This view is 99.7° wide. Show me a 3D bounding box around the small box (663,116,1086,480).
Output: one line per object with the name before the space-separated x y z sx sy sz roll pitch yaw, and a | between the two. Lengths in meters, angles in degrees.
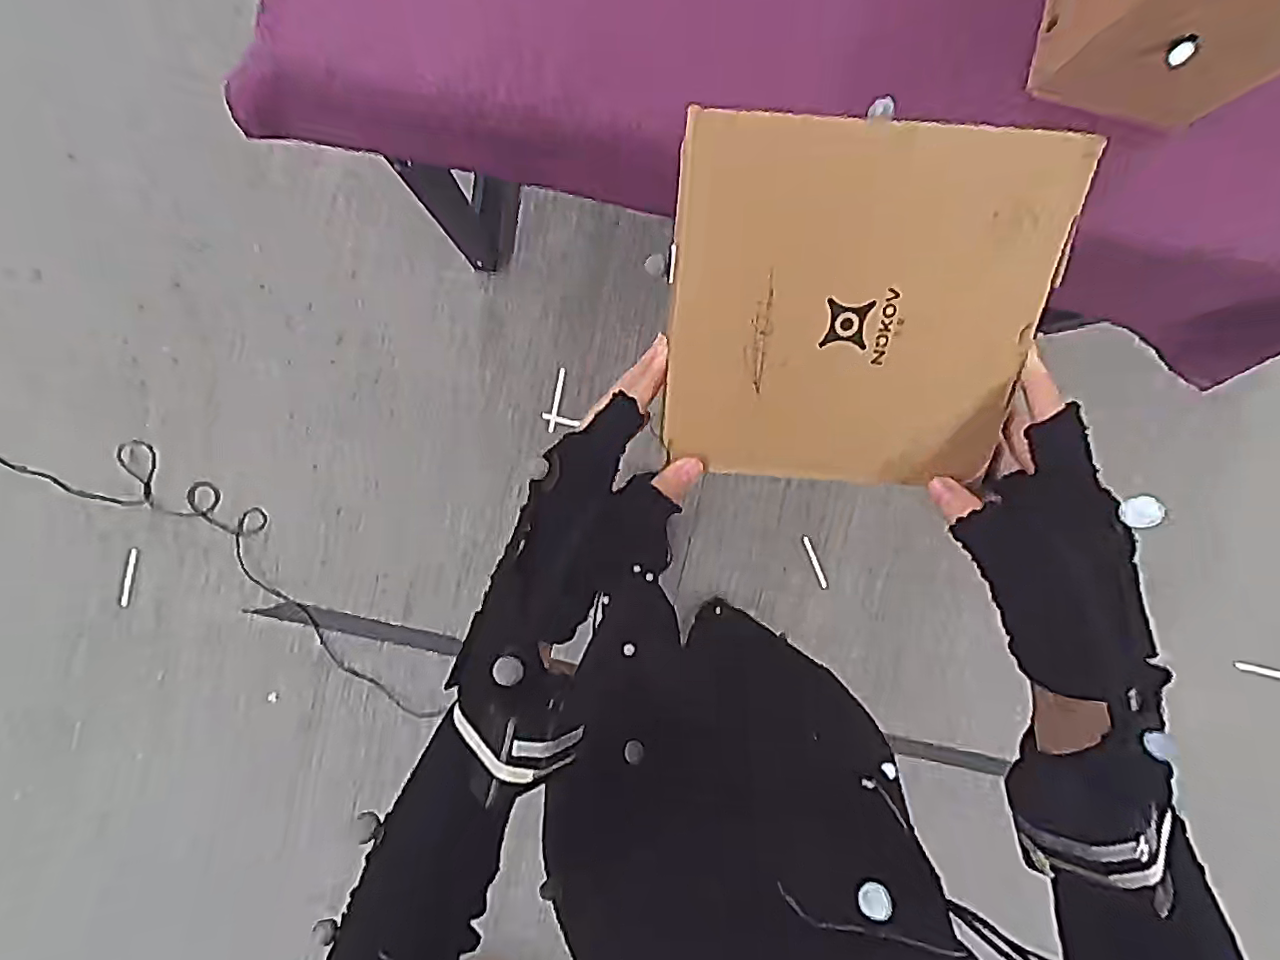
small box | 0.106 -0.110 0.338 0.179 0.176 0.168 3 113 2

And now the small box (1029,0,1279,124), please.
small box | 0.508 -0.467 0.496 0.179 0.176 0.168 10 94 -3
